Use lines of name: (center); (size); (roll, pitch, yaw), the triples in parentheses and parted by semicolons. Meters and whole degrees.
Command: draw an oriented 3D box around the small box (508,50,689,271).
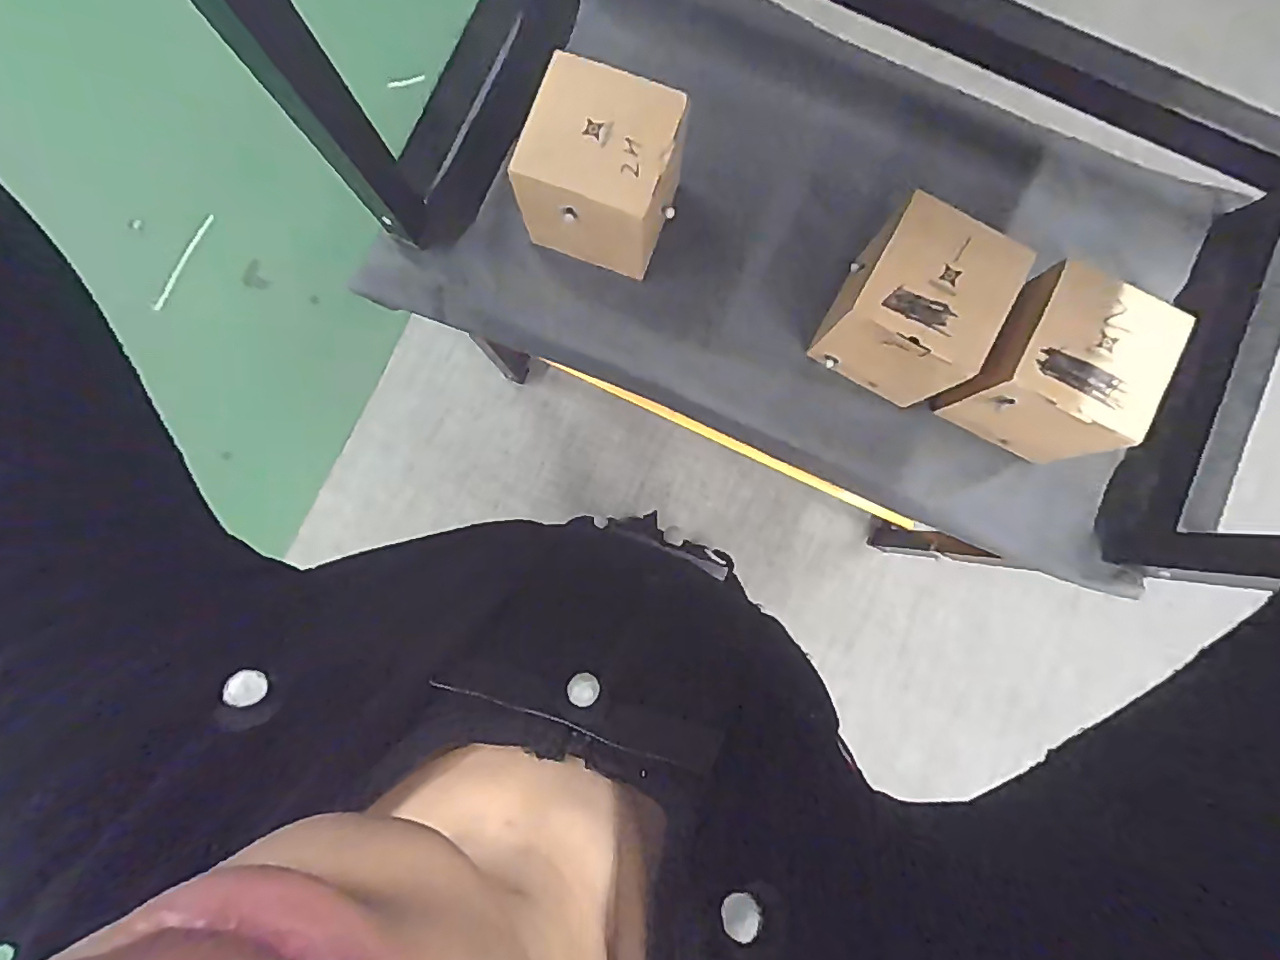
small box: (-0.051, -0.410, 0.725); (0.179, 0.176, 0.168); (20, 86, 0)
